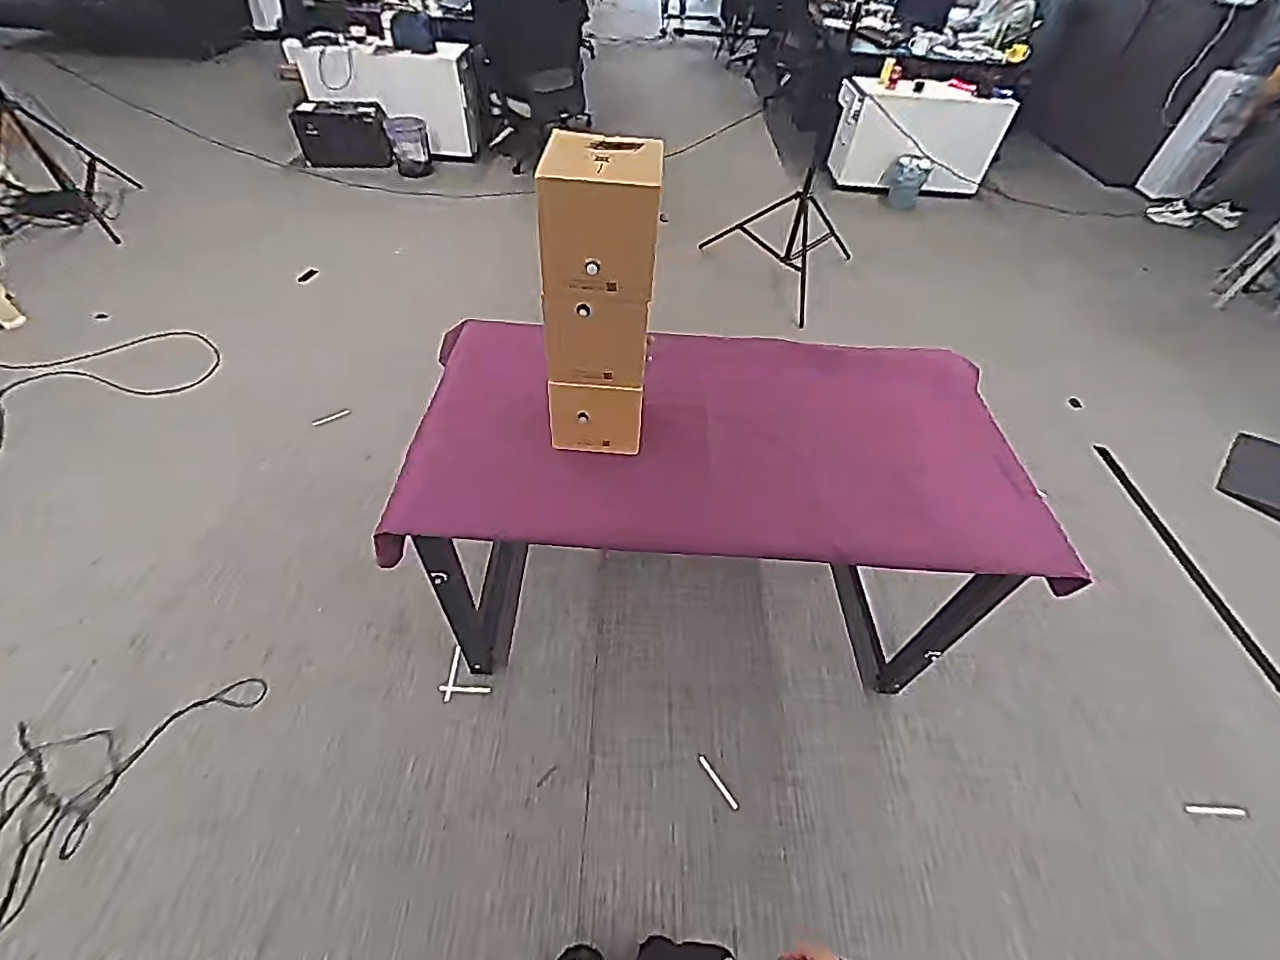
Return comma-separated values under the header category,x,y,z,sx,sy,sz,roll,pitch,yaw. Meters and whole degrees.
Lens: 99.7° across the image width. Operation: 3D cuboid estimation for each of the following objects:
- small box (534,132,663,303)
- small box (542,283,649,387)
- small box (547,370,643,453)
category,x,y,z,sx,sy,sz,roll,pitch,yaw
small box,-0.057,-0.390,0.807,0.168,0.176,0.179,4,49,-1
small box,-0.071,-0.283,0.932,0.168,0.176,0.179,3,48,-1
small box,-0.080,-0.170,1.050,0.168,0.176,0.179,4,48,-1
